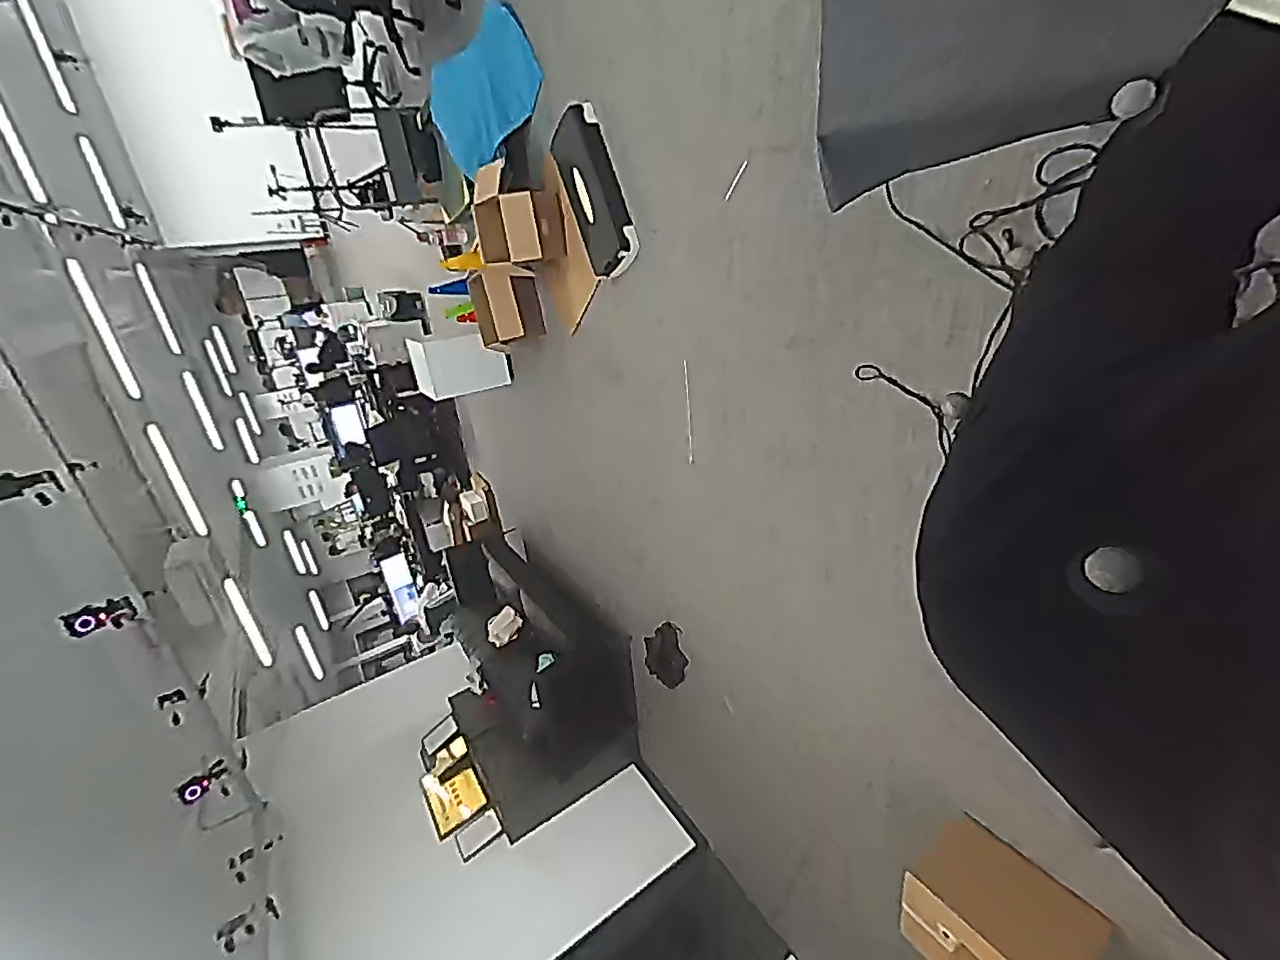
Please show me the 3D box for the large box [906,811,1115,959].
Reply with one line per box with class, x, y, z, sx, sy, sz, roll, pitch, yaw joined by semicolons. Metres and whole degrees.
large box;1.066;1.302;1.589;0.408;0.320;0.320;27;130;54
